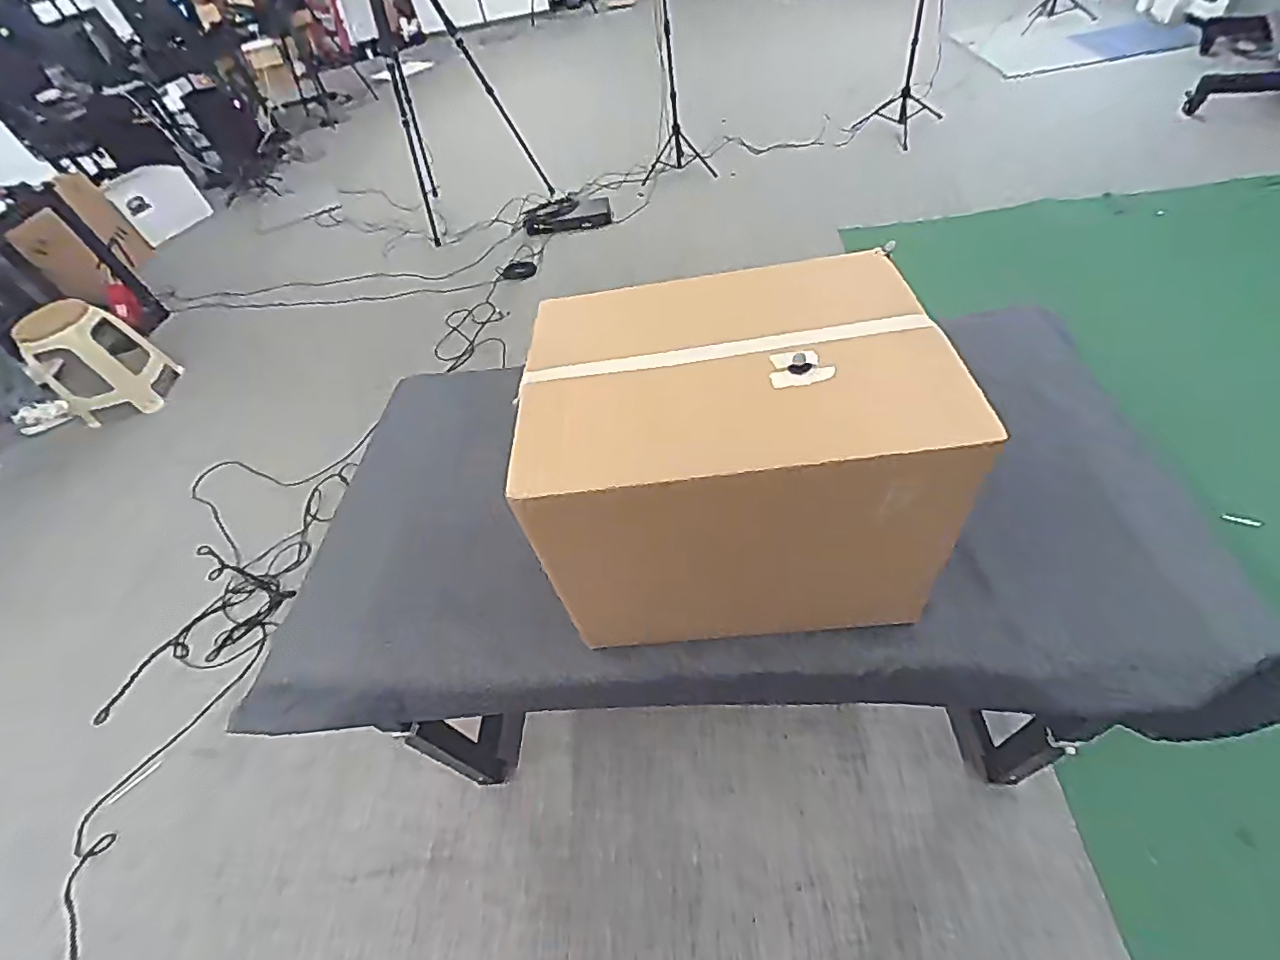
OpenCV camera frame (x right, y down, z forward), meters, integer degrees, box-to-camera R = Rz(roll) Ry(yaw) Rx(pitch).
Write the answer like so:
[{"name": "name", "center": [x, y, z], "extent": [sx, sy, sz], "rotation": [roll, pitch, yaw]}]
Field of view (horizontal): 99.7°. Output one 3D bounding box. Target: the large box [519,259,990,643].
[{"name": "large box", "center": [0.103, -0.025, 0.658], "extent": [0.408, 0.320, 0.320], "rotation": [-6, 49, 5]}]
